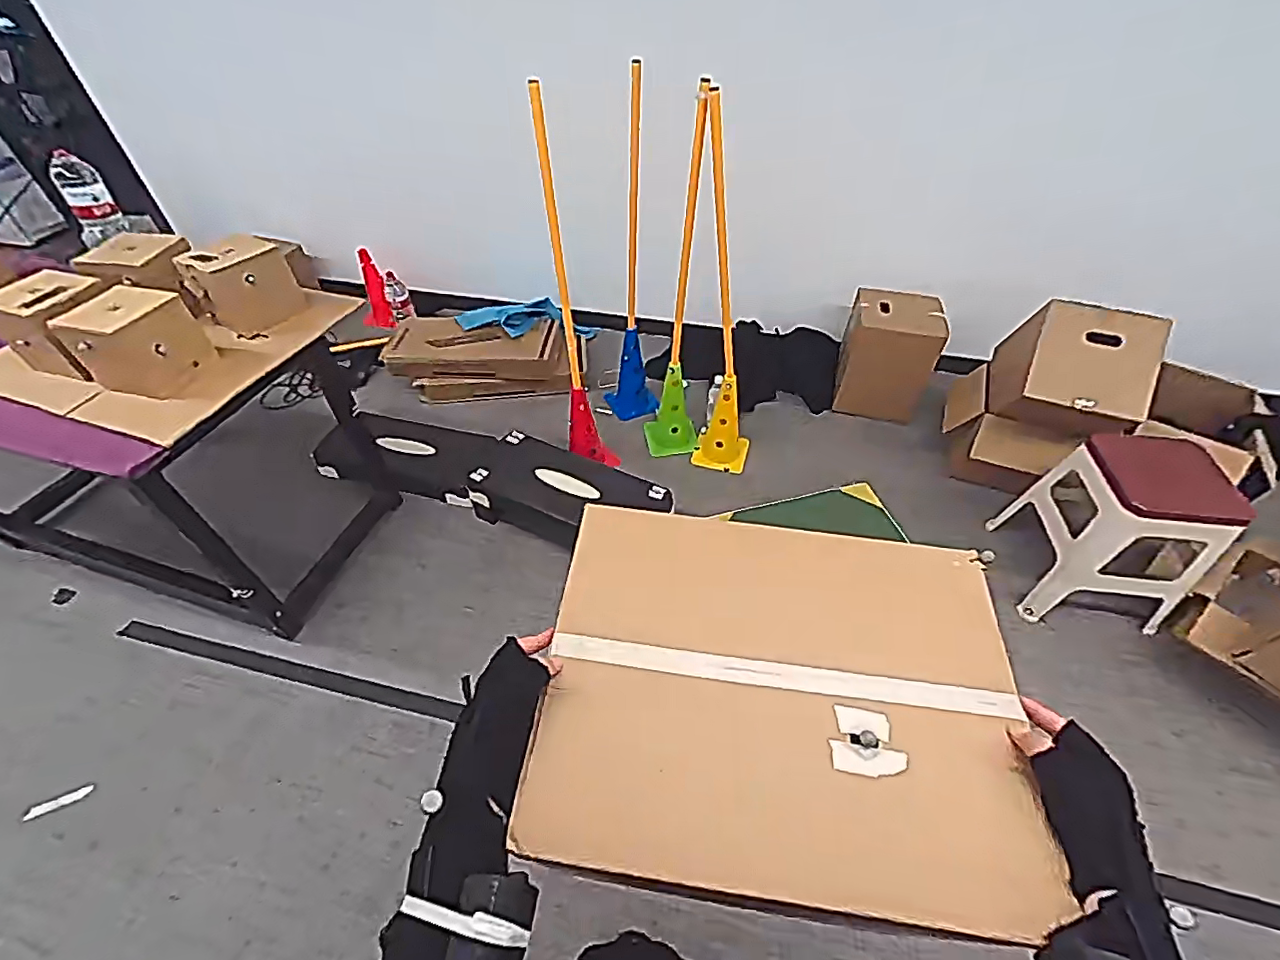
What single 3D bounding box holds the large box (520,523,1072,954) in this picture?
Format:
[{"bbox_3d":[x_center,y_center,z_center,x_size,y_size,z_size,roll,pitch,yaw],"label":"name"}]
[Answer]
[{"bbox_3d":[0.120,0.278,0.594,0.408,0.320,0.320,7,53,4],"label":"large box"}]
